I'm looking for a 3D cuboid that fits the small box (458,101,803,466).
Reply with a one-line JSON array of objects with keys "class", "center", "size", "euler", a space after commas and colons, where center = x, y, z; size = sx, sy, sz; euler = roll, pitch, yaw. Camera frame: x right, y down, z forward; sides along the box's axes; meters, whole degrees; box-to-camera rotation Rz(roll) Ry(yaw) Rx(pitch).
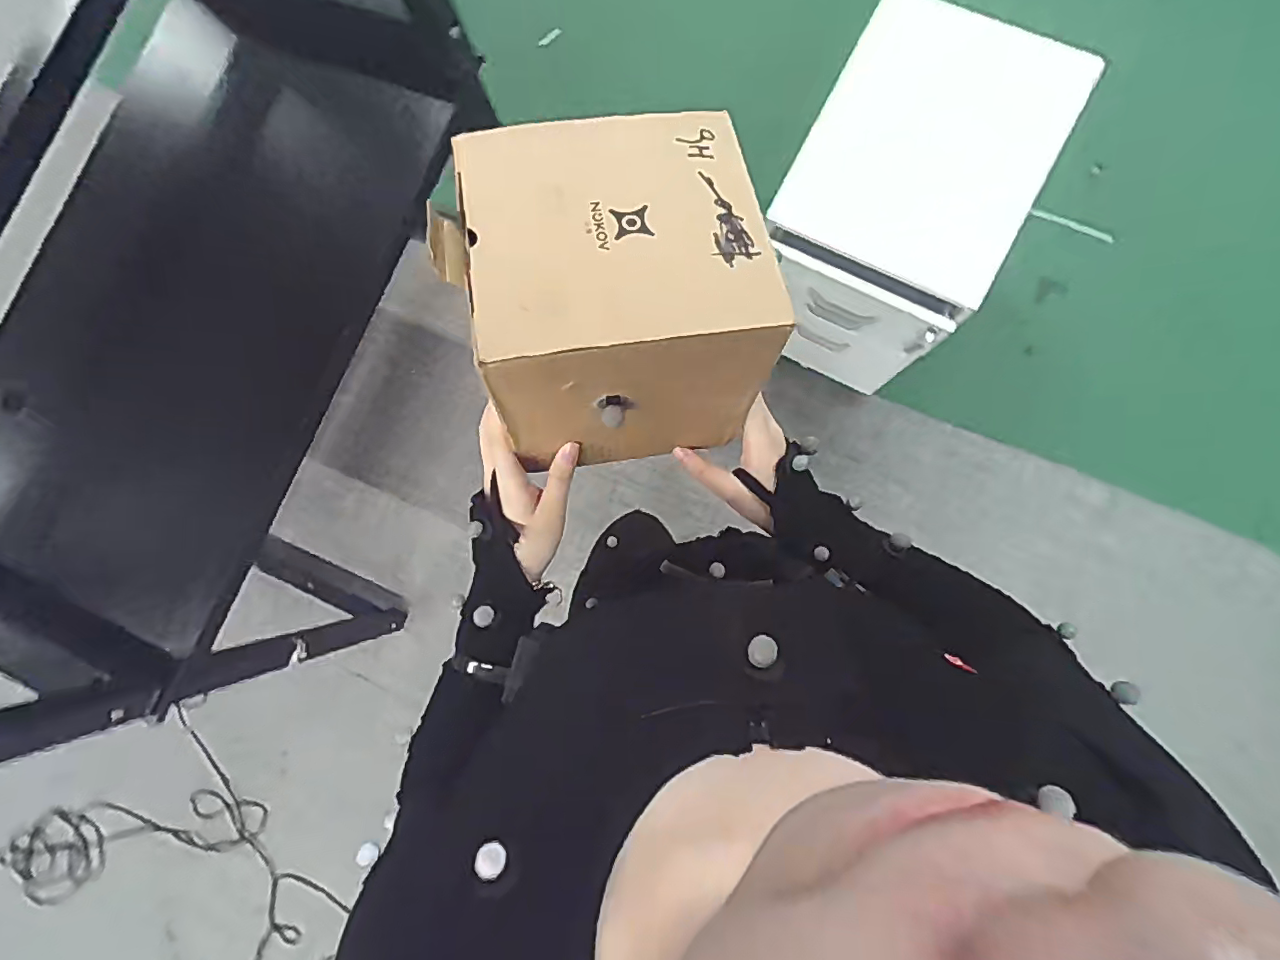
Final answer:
[{"class": "small box", "center": [-0.013, -0.120, 0.377], "size": [0.179, 0.176, 0.168], "euler": [-8, 71, -5]}]
